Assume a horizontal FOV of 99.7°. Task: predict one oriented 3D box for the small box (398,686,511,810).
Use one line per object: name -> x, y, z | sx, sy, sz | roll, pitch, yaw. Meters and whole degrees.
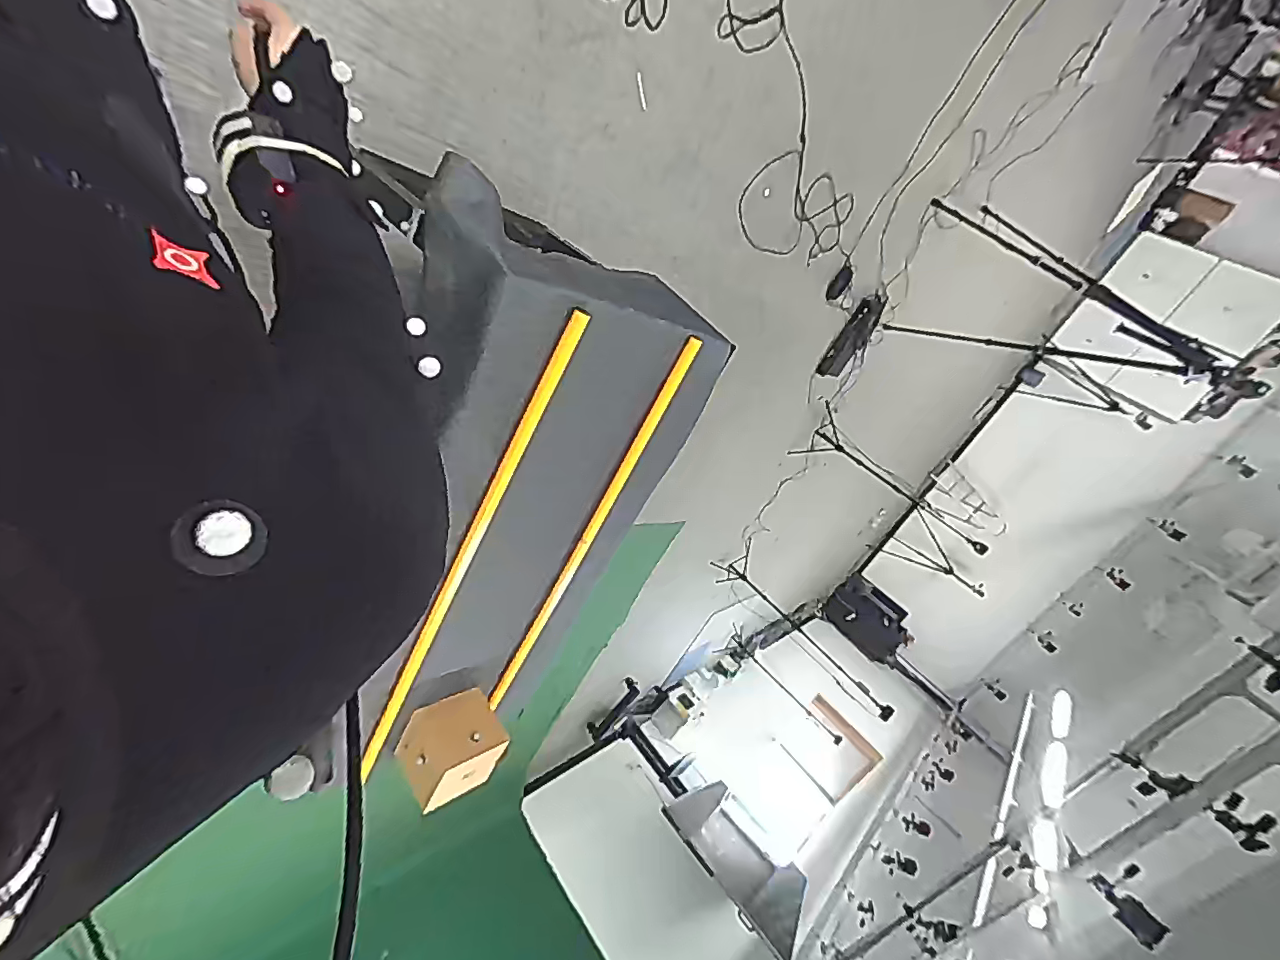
small box -> -0.449, 0.632, 1.297 | 0.179, 0.176, 0.168 | -3, 128, -52
